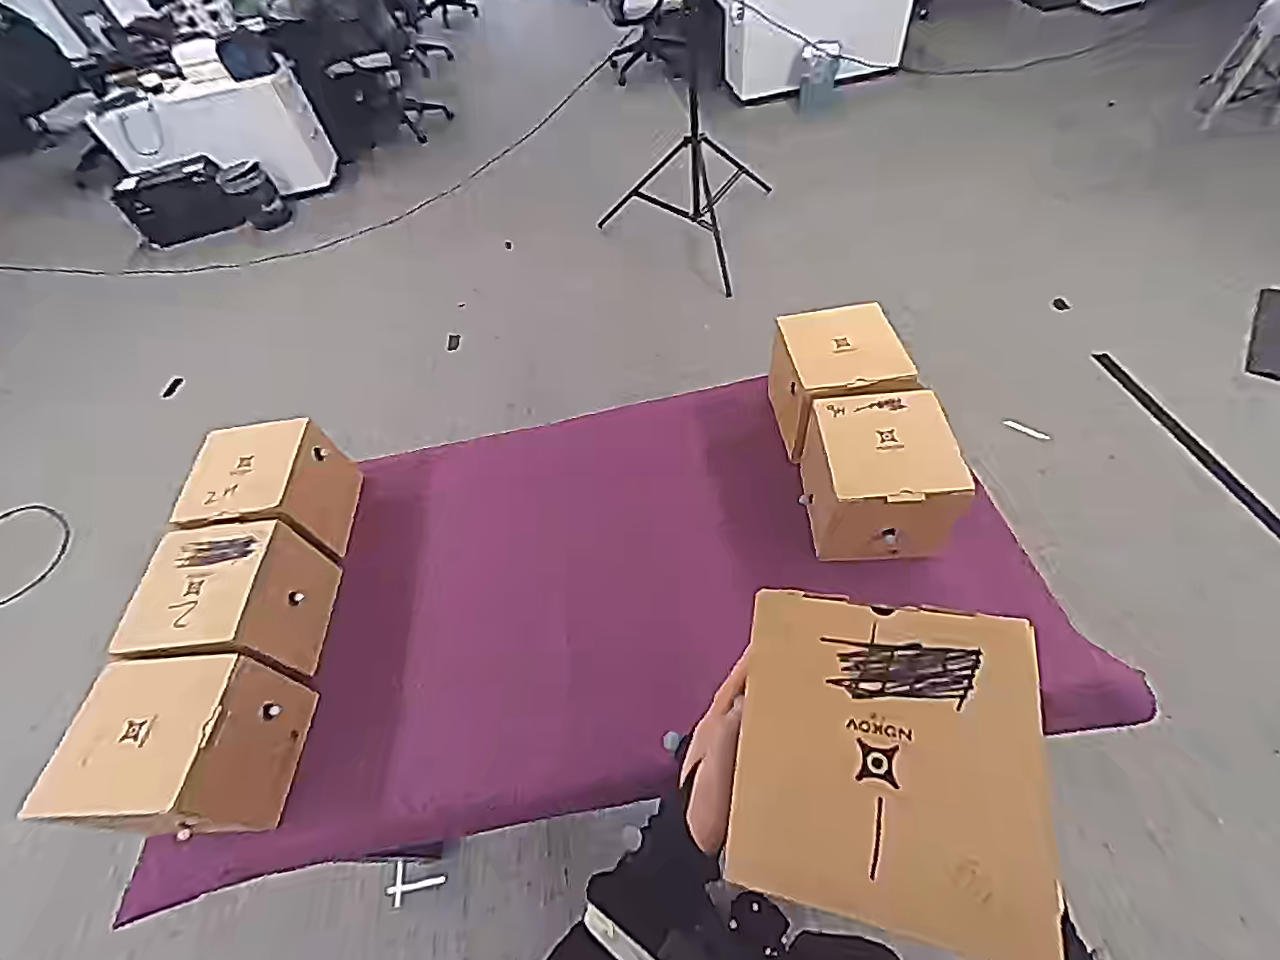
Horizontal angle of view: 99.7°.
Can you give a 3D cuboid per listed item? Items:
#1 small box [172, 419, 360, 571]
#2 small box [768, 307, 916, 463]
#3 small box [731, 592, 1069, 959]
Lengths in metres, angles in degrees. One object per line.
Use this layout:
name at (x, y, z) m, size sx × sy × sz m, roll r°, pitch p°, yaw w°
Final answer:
small box at (-0.587, 0.027, 0.881) m, size 0.168 × 0.176 × 0.179 m, roll -8°, pitch 55°, yaw 2°
small box at (0.313, -0.153, 0.885) m, size 0.168 × 0.176 × 0.179 m, roll -8°, pitch 53°, yaw 2°
small box at (0.169, 0.198, 0.387) m, size 0.168 × 0.176 × 0.179 m, roll 2°, pitch 62°, yaw 22°
